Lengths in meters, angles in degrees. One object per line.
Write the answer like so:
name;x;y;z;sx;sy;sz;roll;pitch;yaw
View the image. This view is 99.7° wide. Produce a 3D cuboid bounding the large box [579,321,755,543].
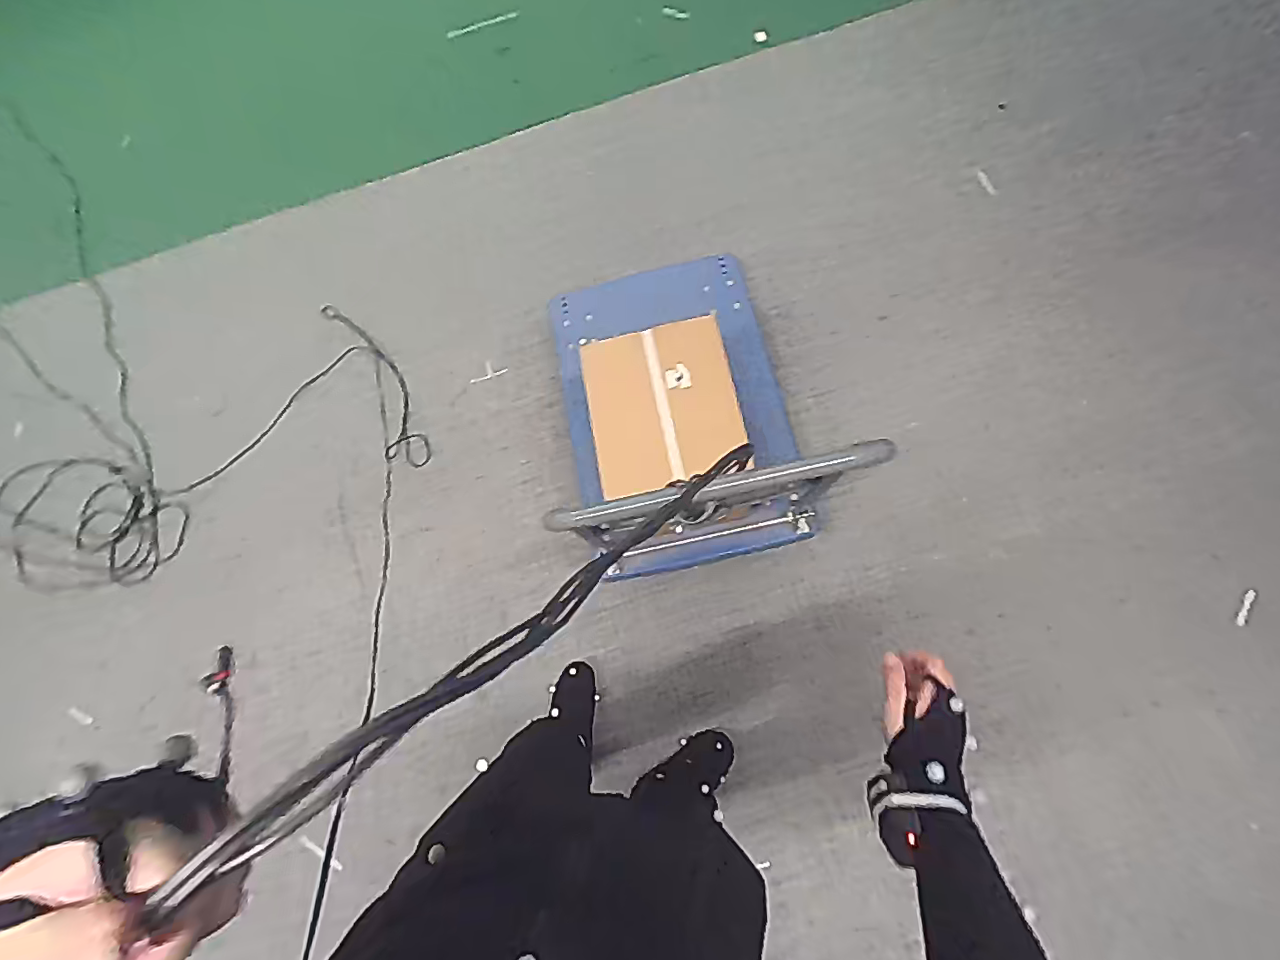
large box;0.065;-0.096;1.290;0.320;0.320;0.408;-11;72;3
